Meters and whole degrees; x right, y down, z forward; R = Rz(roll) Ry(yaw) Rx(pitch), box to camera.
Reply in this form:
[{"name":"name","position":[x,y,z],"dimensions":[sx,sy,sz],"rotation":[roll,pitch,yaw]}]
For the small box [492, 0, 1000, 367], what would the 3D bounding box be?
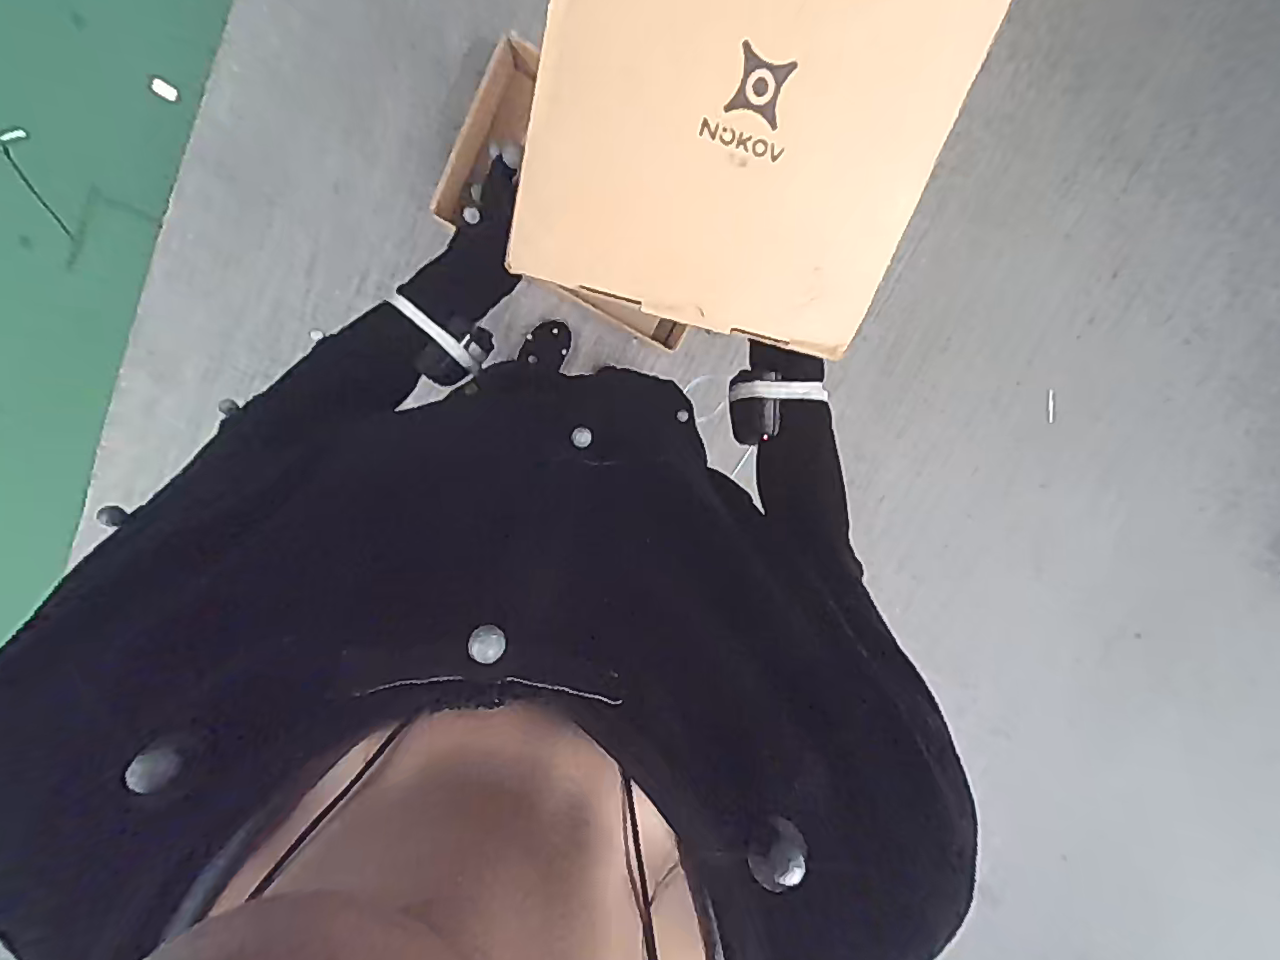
[{"name":"small box","position":[0.031,-0.183,0.281],"dimensions":[0.168,0.176,0.179],"rotation":[12,116,-13]}]
